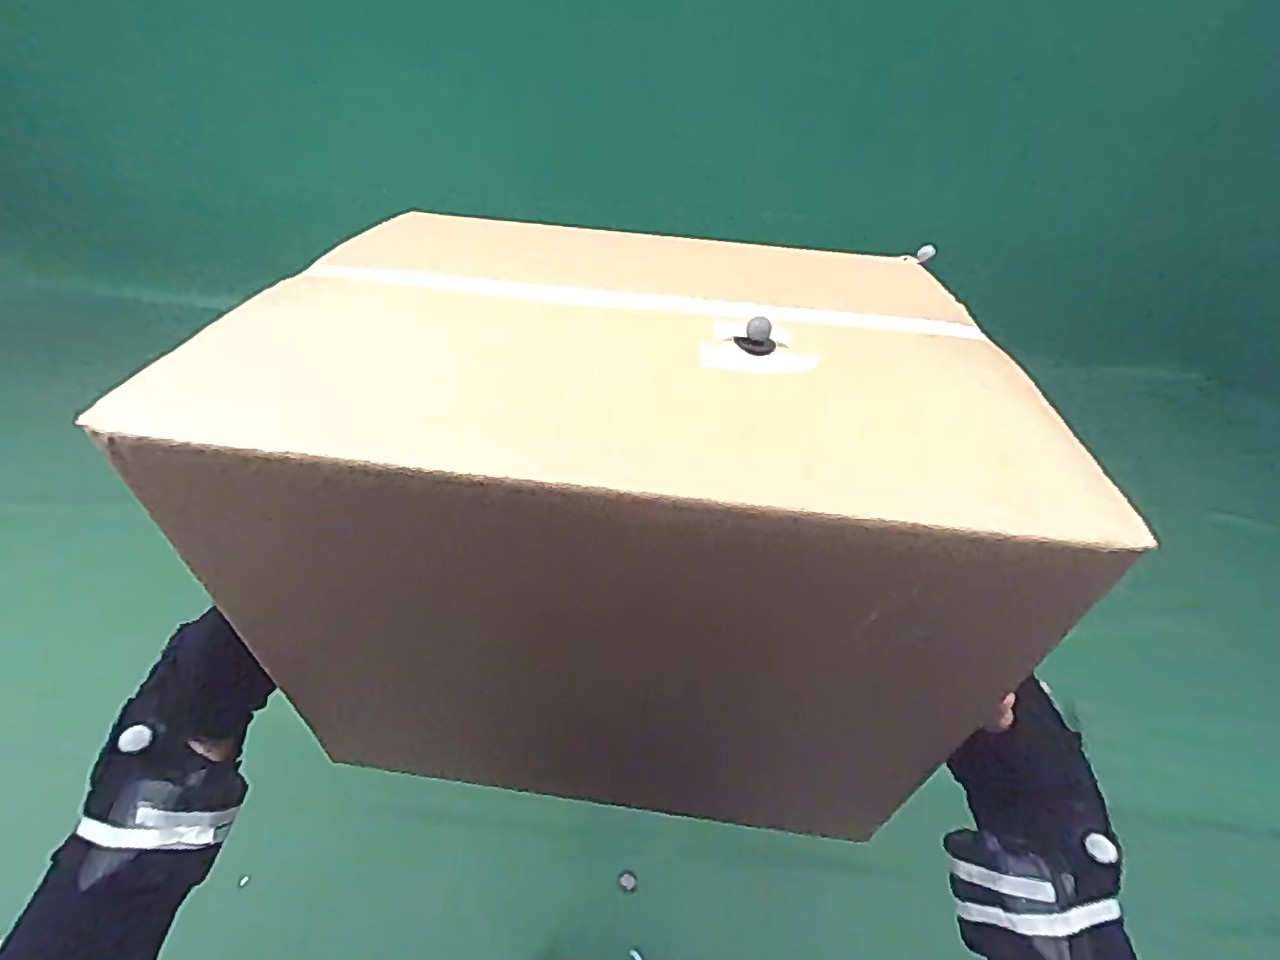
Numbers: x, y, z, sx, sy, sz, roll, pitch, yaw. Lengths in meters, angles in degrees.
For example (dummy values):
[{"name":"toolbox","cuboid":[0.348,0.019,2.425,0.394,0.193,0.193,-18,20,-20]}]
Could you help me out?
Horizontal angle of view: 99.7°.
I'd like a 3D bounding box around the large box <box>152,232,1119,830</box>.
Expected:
[{"name":"large box","cuboid":[-0.004,0.025,0.424,0.408,0.320,0.320,8,40,3]}]
